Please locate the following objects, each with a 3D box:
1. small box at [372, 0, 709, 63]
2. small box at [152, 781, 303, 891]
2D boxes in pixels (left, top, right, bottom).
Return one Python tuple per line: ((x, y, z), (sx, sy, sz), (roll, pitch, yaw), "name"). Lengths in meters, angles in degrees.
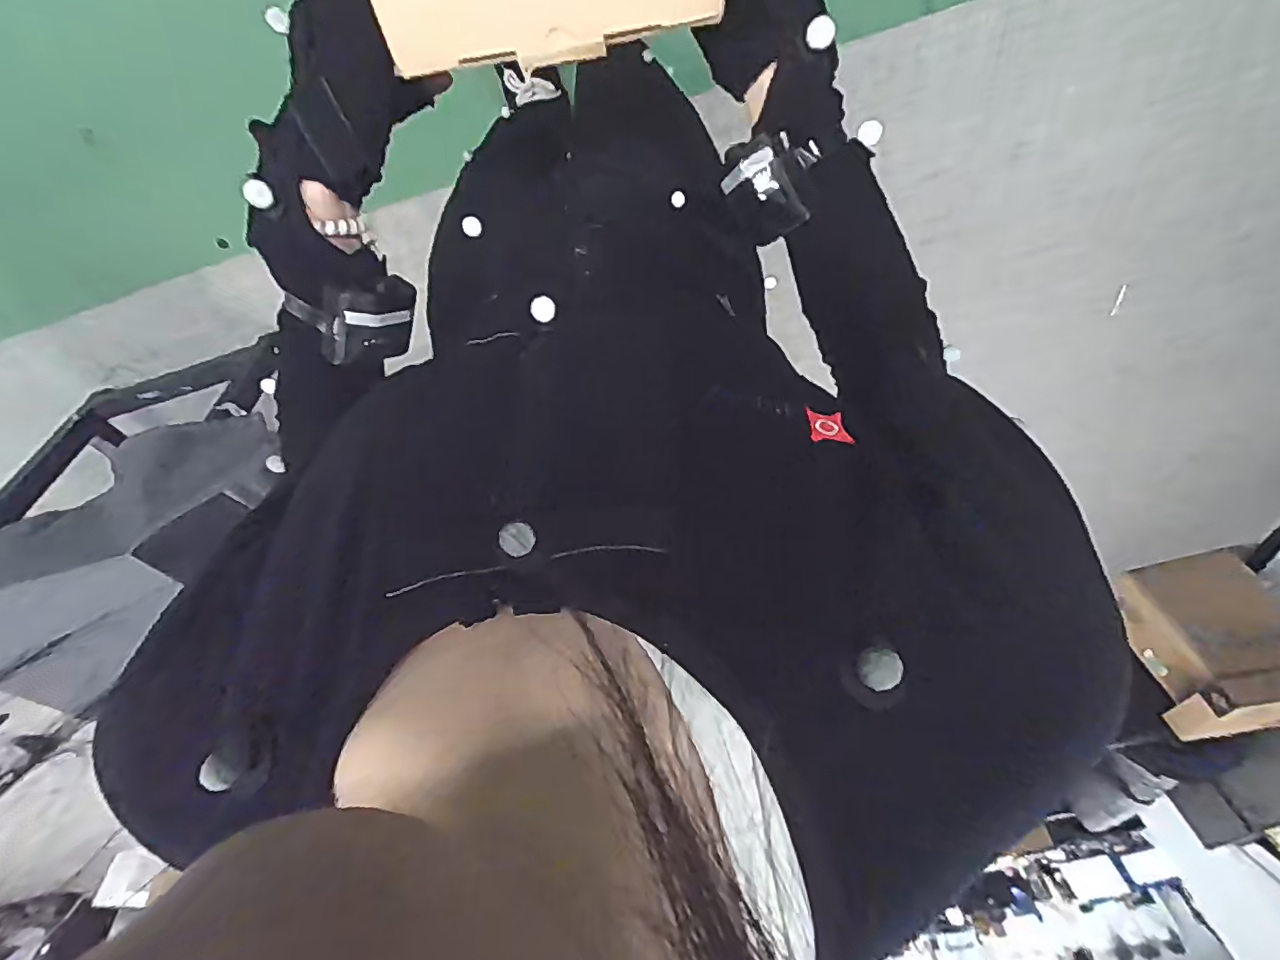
((-0.059, -0.337, 0.264), (0.168, 0.176, 0.179), (-8, 135, 2), "small box")
((-0.898, 0.784, 1.197), (0.168, 0.176, 0.179), (-16, 136, 8), "small box")
